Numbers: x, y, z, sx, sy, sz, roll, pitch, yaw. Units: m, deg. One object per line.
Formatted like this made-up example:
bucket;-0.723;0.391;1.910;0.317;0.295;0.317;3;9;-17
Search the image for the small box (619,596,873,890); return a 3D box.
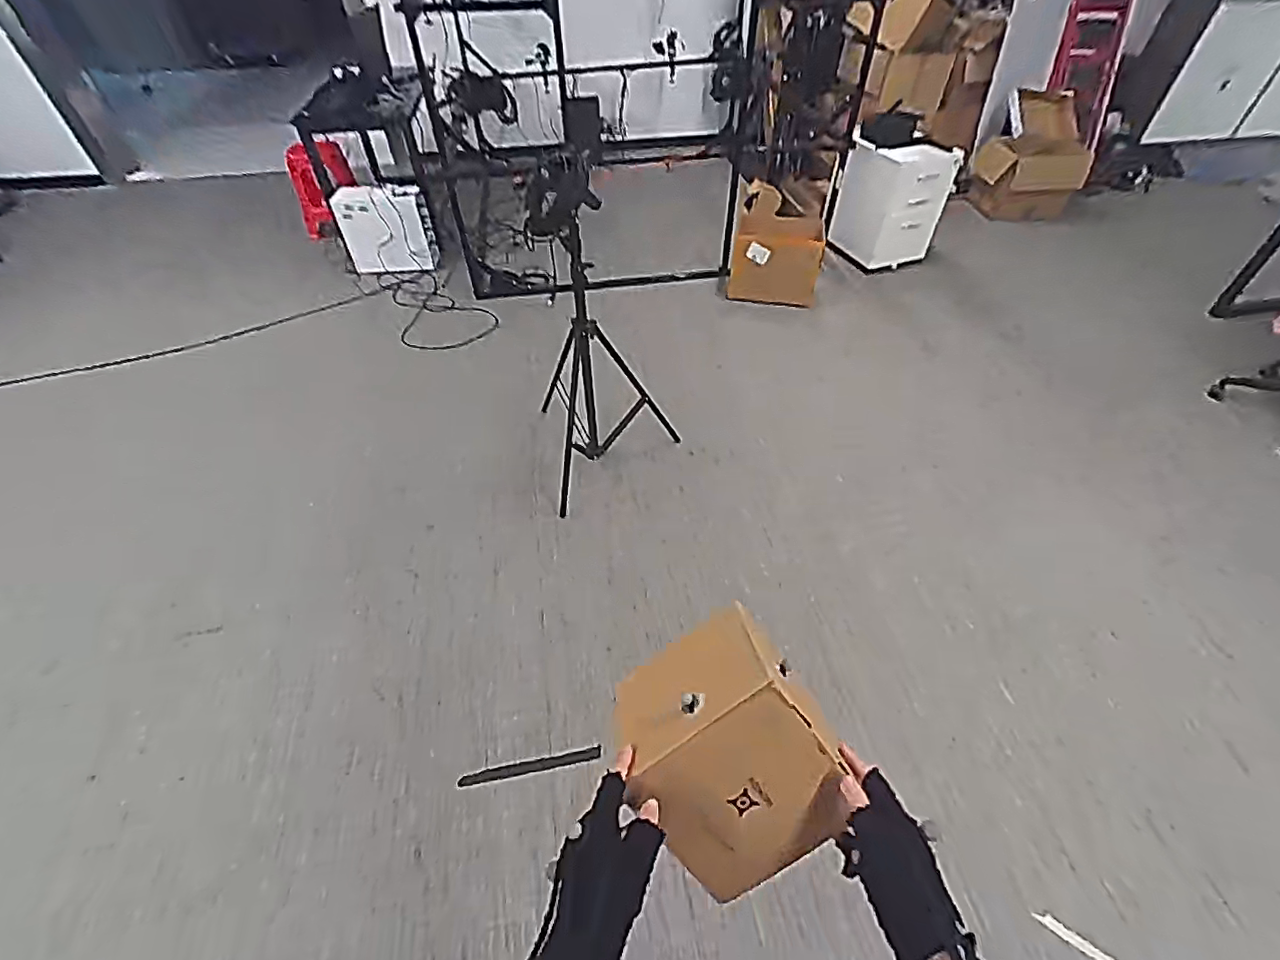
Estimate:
small box;0.093;0.251;0.557;0.179;0.168;0.176;-38;9;7
